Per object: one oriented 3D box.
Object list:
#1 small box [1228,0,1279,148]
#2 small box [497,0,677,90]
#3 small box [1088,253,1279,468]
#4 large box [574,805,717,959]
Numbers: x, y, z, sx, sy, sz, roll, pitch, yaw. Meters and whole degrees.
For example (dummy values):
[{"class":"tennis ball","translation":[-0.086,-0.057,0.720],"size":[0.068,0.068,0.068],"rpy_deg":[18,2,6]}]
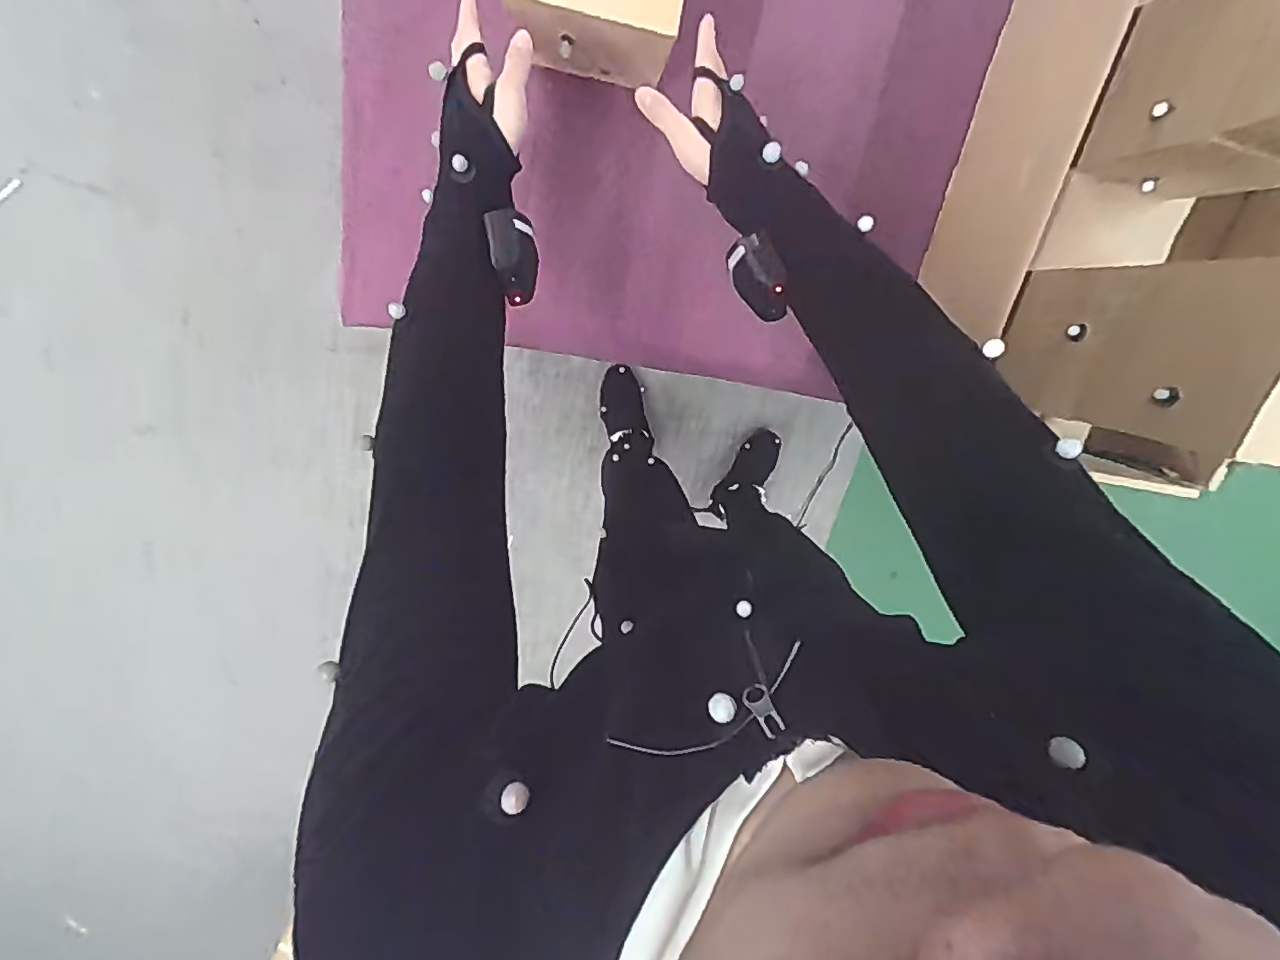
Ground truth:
[{"class":"small box","translation":[0.670,-0.381,0.448],"size":[0.168,0.176,0.179],"rpy_deg":[11,109,-10]},{"class":"small box","translation":[-0.043,-0.528,0.540],"size":[0.168,0.176,0.179],"rpy_deg":[7,107,-9]},{"class":"small box","translation":[0.607,-0.113,0.536],"size":[0.168,0.176,0.179],"rpy_deg":[10,107,-9]},{"class":"large box","translation":[0.009,1.466,1.937],"size":[0.408,0.320,0.320],"rpy_deg":[-23,111,0]}]
